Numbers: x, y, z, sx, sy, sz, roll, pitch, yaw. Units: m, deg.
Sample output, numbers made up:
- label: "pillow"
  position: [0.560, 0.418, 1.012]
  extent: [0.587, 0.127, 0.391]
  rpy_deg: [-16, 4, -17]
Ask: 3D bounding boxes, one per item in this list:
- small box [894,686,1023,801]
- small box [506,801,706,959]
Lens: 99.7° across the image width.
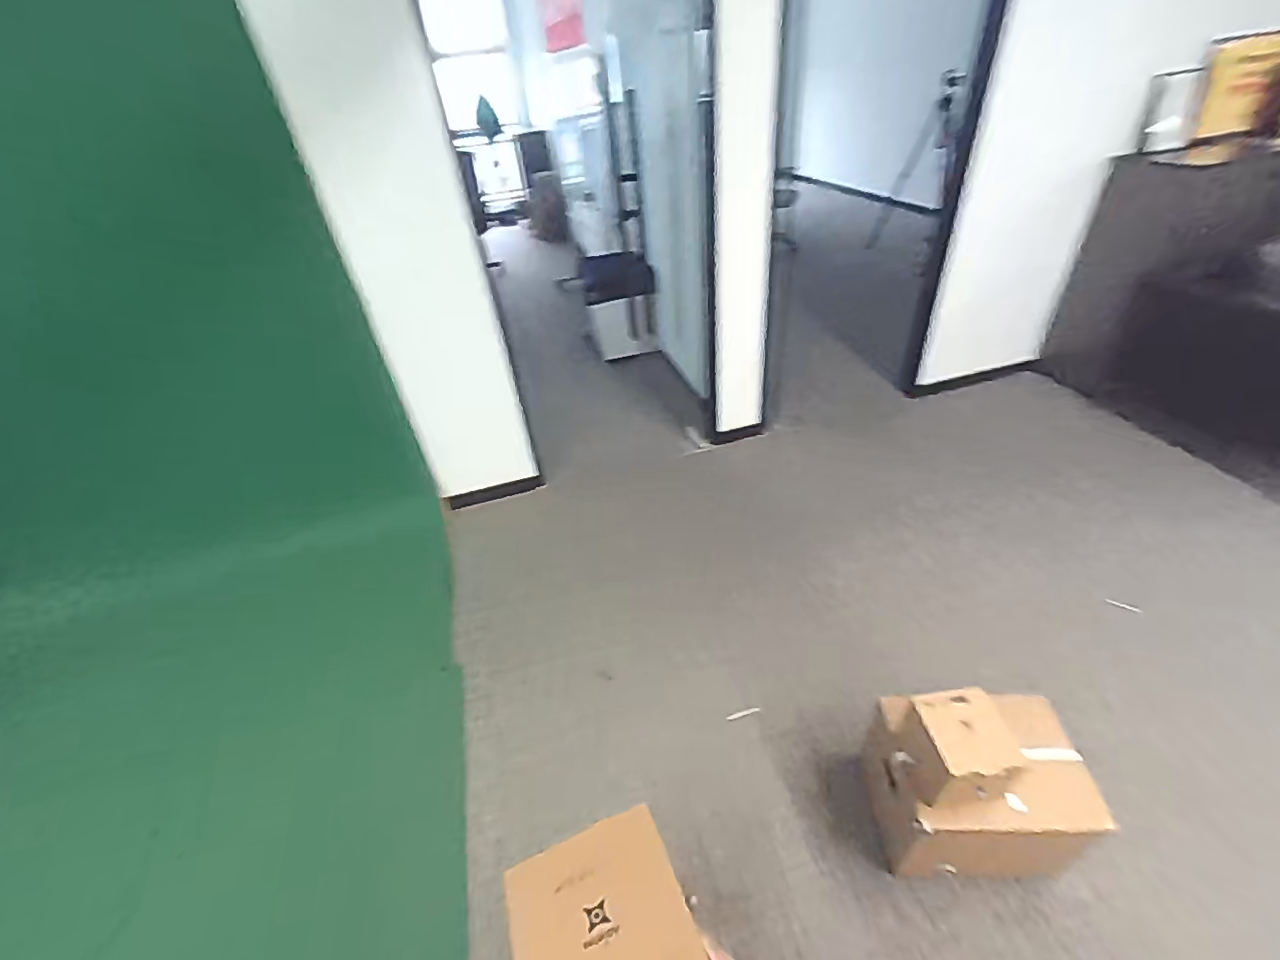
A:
- label: "small box"
  position: [0.694, 0.591, 1.202]
  extent: [0.168, 0.176, 0.179]
  rpy_deg: [-7, 39, -1]
- label: "small box"
  position: [-0.024, 0.481, 0.543]
  extent: [0.168, 0.176, 0.179]
  rpy_deg: [-18, 26, -12]
